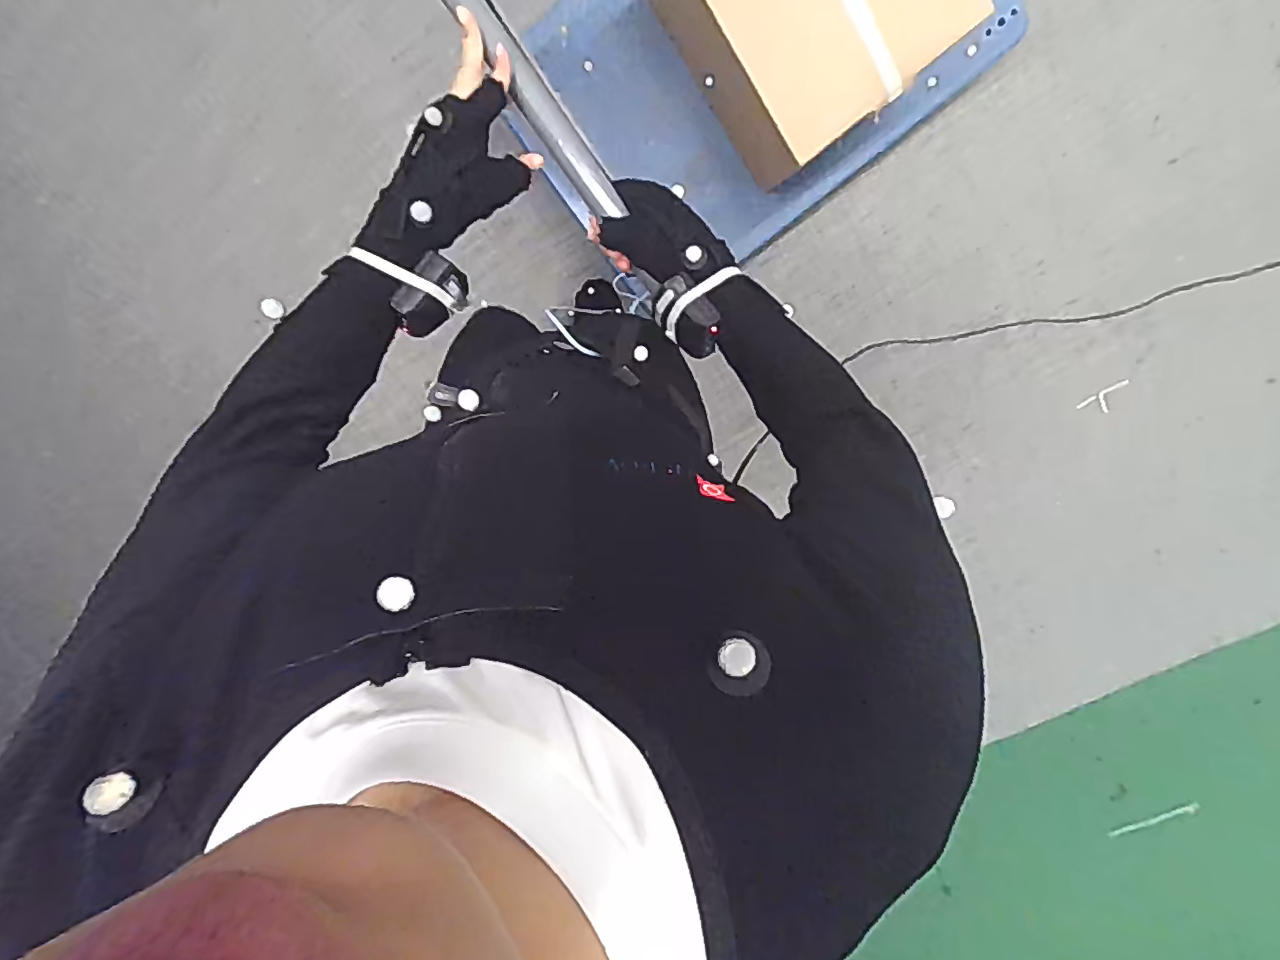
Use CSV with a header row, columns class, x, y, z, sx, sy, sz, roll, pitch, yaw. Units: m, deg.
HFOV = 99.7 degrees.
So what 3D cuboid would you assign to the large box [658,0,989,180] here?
class,x,y,z,sx,sy,sz,roll,pitch,yaw
large box,0.253,-0.777,0.865,0.320,0.320,0.408,-35,105,14
